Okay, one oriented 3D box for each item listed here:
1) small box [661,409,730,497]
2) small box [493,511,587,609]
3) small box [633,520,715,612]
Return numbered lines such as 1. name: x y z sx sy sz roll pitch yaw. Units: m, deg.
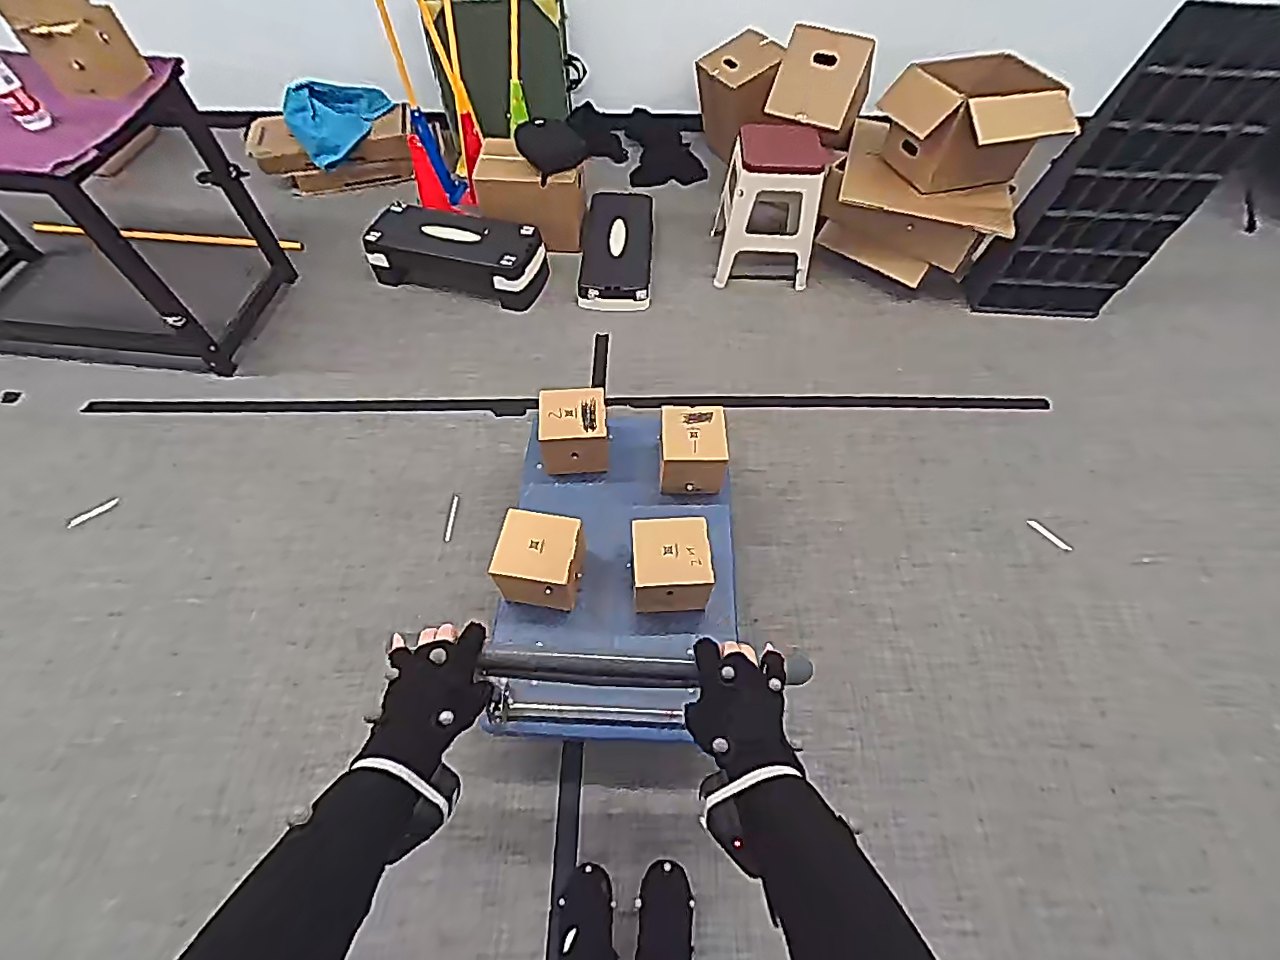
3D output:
1. small box: 0.144 -0.072 1.464 0.168 0.176 0.179 0 59 -1
2. small box: -0.229 0.195 1.289 0.179 0.176 0.168 9 58 3
3. small box: 0.074 0.209 1.286 0.179 0.176 0.168 -2 58 -2
